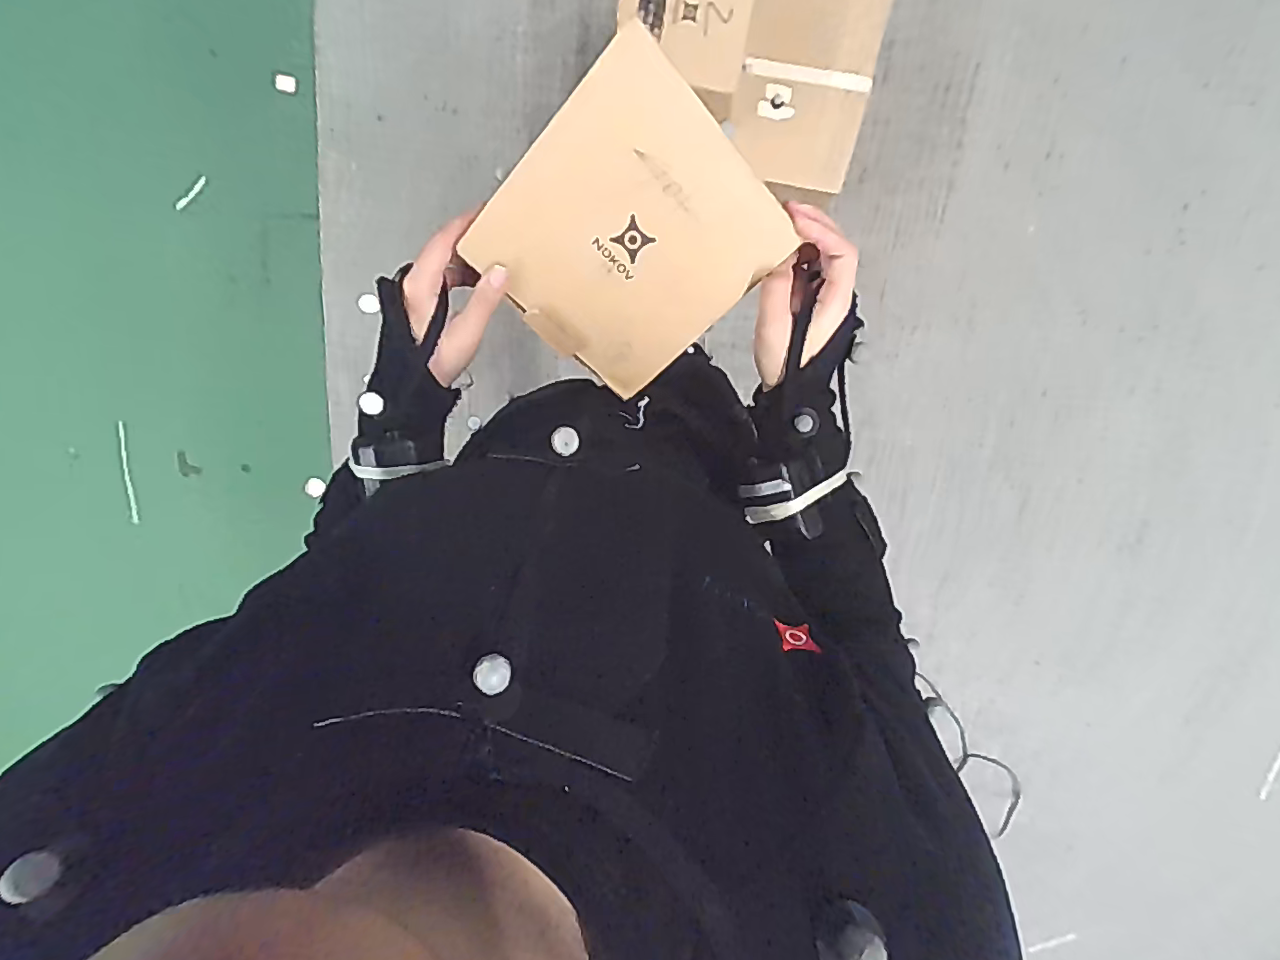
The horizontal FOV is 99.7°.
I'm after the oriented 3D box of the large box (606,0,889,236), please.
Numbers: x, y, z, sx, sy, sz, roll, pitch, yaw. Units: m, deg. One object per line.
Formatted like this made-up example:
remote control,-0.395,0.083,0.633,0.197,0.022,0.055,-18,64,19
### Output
large box,0.174,-0.679,1.013,0.408,0.320,0.320,12,107,3
